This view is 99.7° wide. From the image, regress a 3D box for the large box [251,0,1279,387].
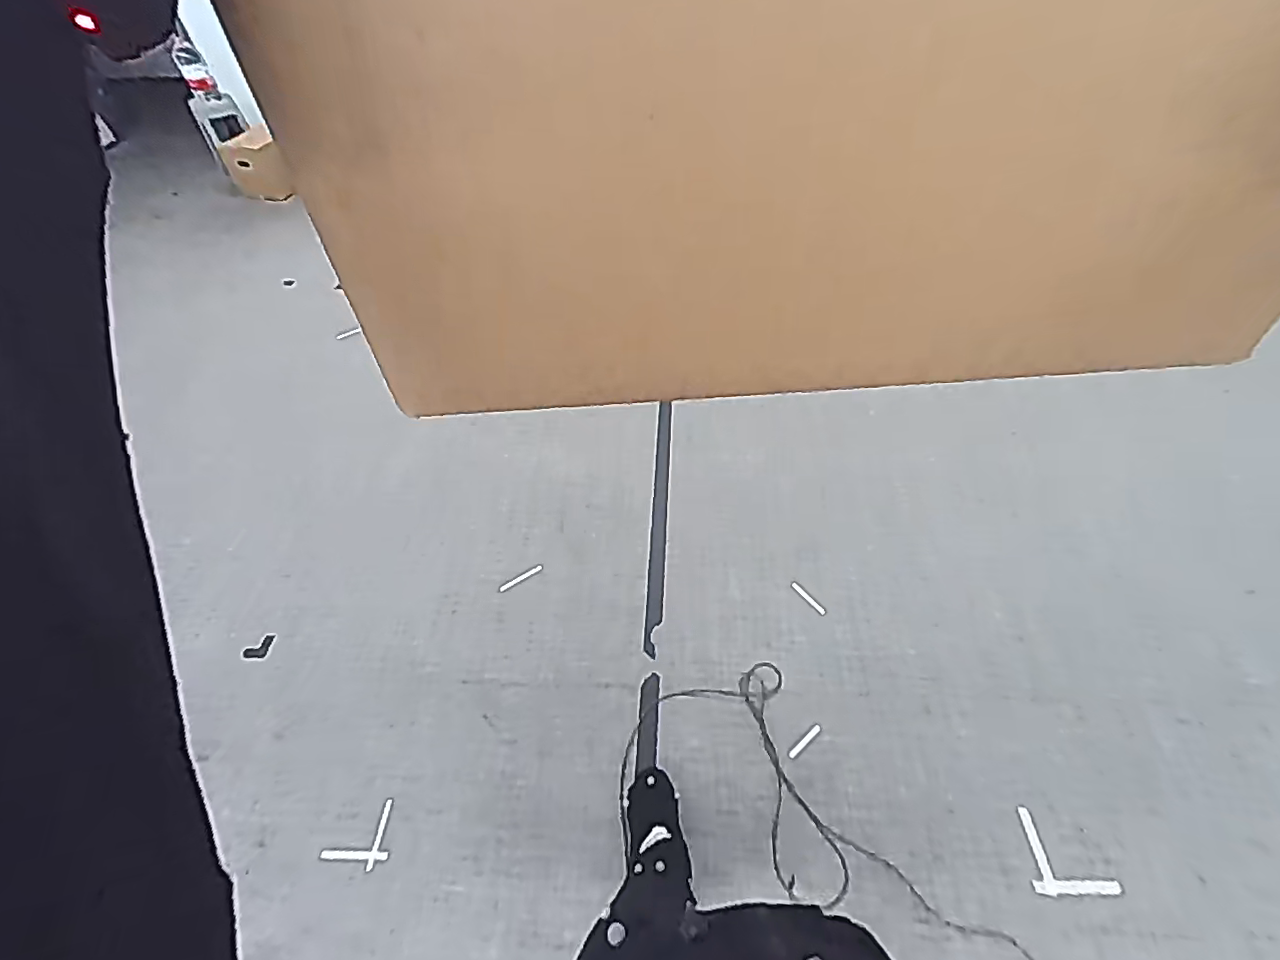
[{"bbox_3d":[0.066,-0.267,0.271,0.408,0.320,0.320,-4,45,0],"label":"large box"}]
